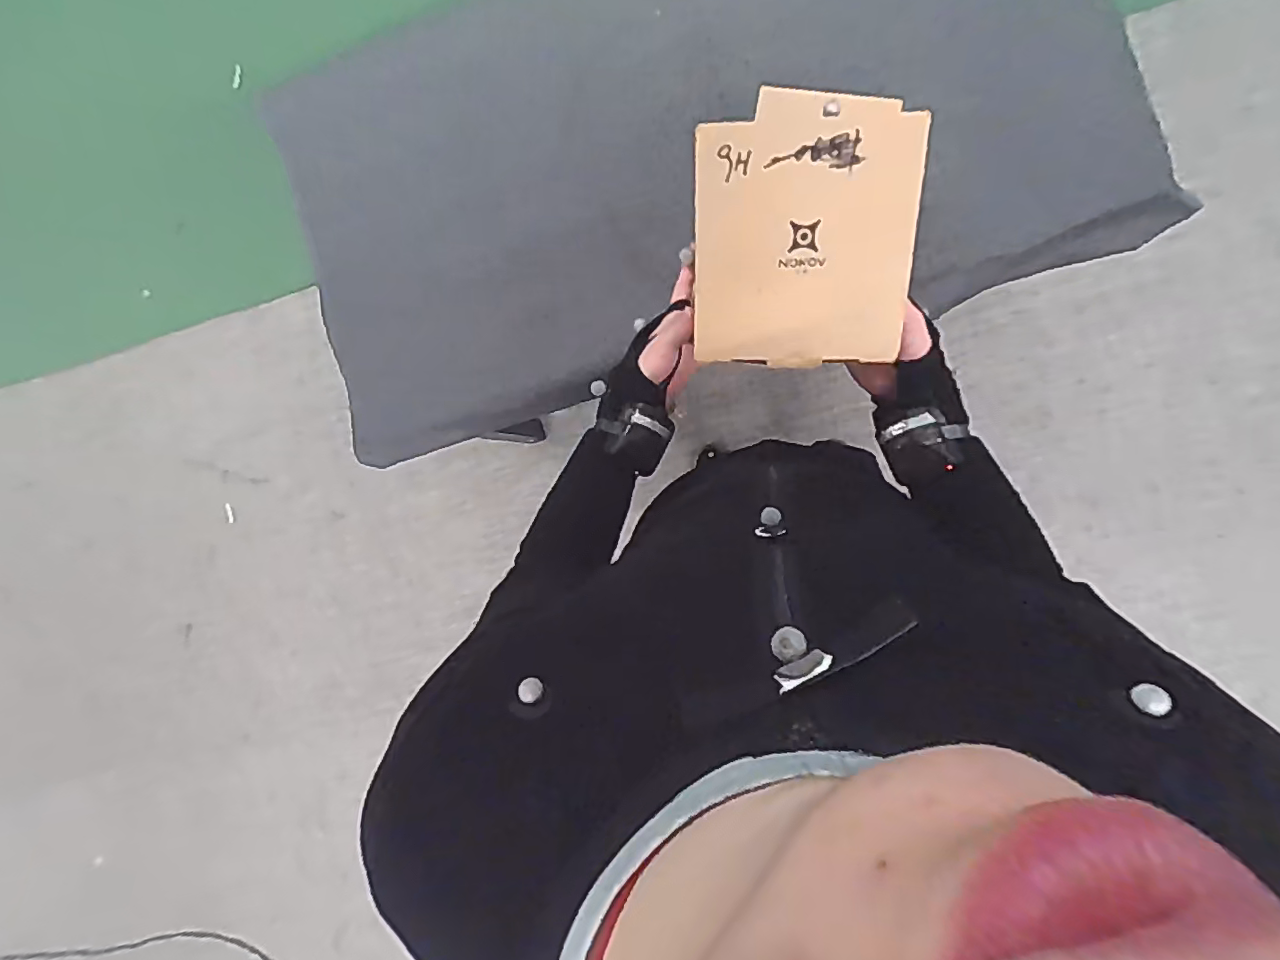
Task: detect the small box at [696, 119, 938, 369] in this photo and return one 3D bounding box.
[{"bbox_3d":[0.137,-0.203,0.490,0.168,0.176,0.179,0,112,5],"label":"small box"}]

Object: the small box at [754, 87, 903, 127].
[{"bbox_3d":[0.217,-0.366,0.712,0.168,0.176,0.179,10,92,6],"label":"small box"}]
